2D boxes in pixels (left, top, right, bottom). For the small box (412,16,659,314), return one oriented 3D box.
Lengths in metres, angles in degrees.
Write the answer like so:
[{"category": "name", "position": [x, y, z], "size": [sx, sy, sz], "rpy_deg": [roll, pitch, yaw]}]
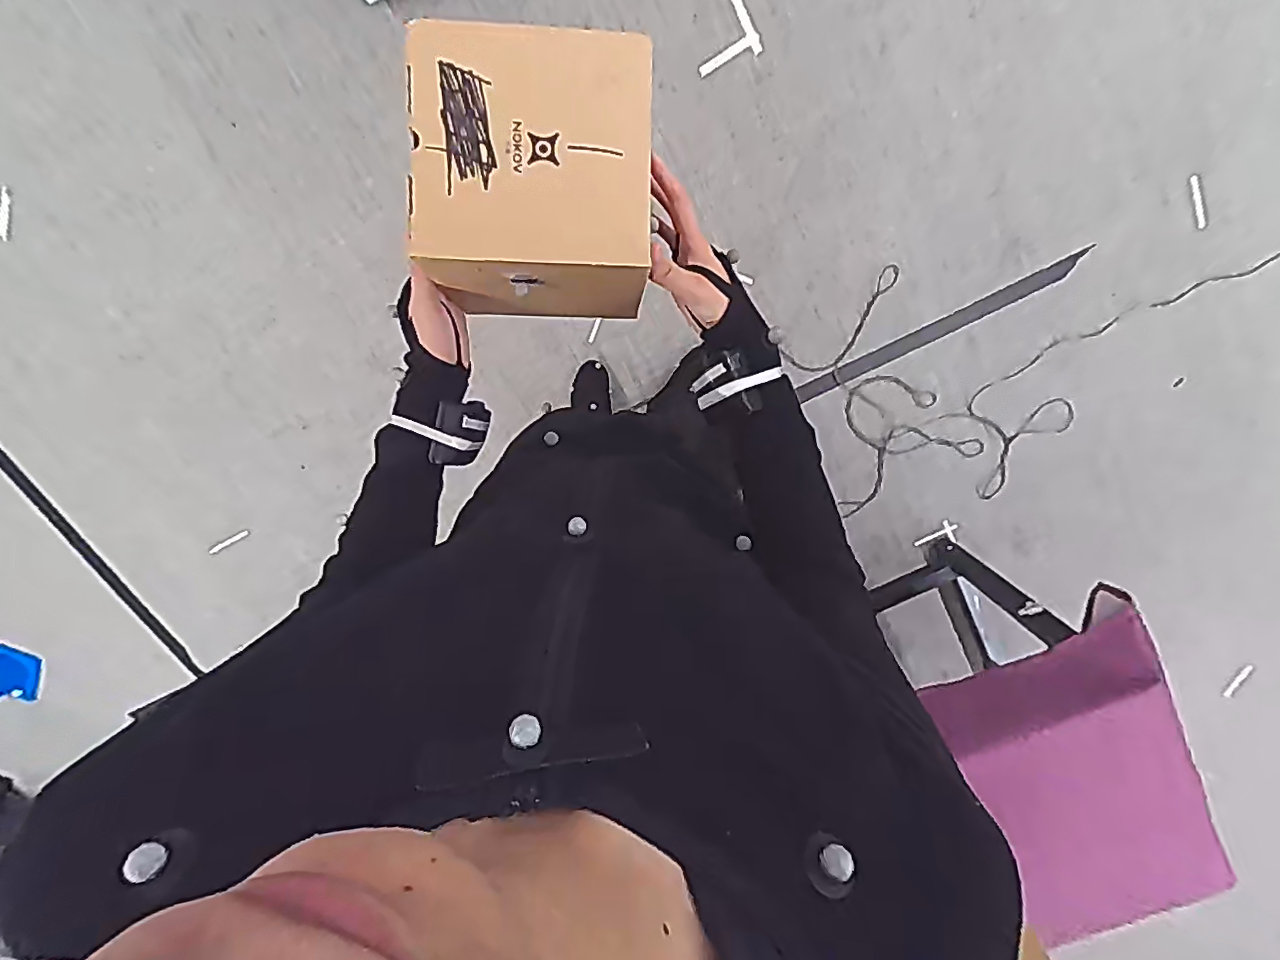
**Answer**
[{"category": "small box", "position": [-0.079, -0.248, 0.469], "size": [0.179, 0.176, 0.168], "rpy_deg": [0, 94, -4]}]
